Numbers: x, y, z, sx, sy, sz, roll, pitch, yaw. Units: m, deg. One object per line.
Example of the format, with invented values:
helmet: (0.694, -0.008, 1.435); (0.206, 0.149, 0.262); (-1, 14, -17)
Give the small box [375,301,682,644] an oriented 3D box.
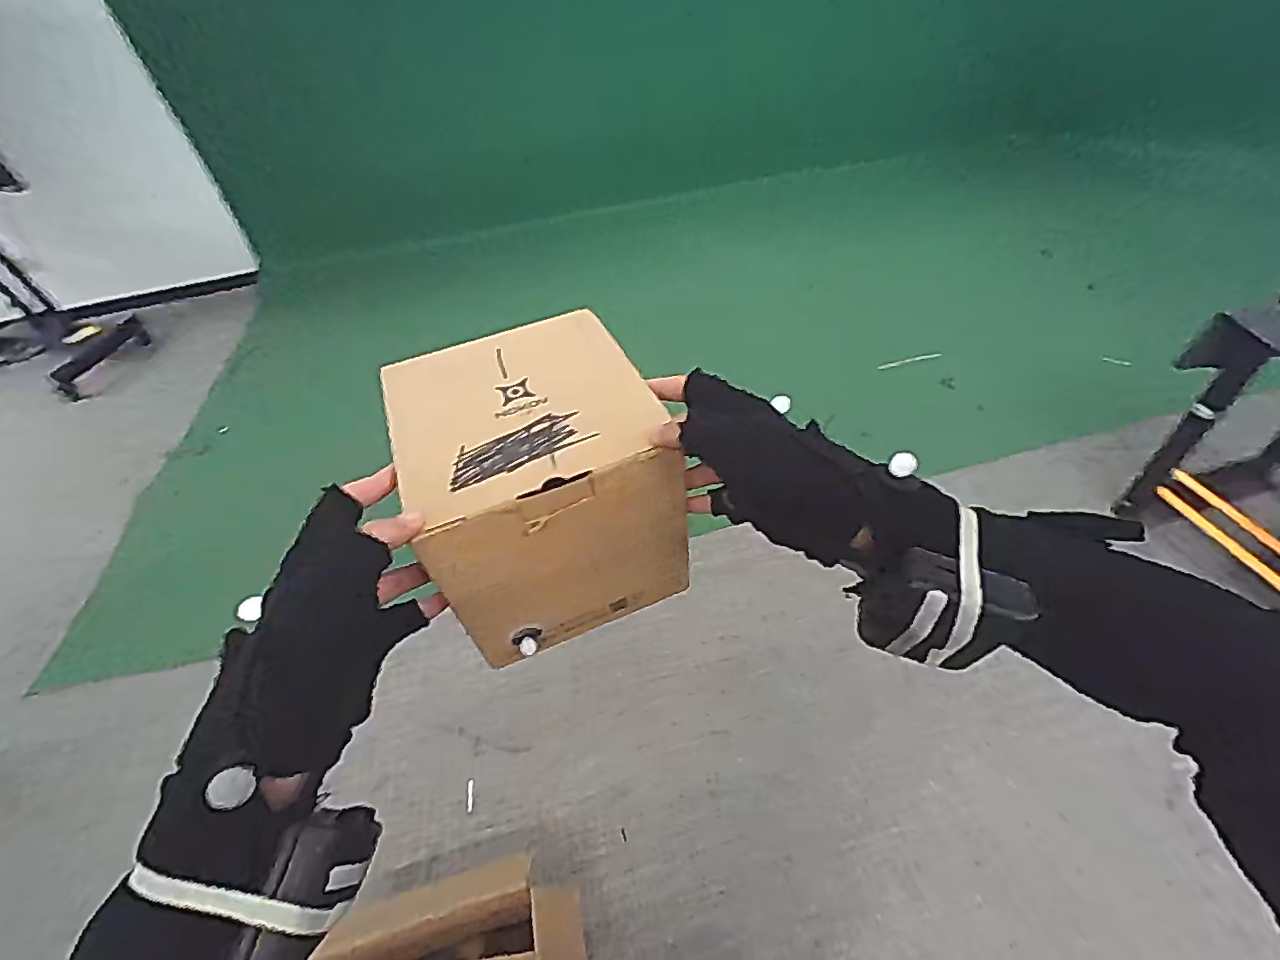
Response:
small box: (-0.075, -0.001, 0.407); (0.168, 0.176, 0.179); (-20, 48, -12)
